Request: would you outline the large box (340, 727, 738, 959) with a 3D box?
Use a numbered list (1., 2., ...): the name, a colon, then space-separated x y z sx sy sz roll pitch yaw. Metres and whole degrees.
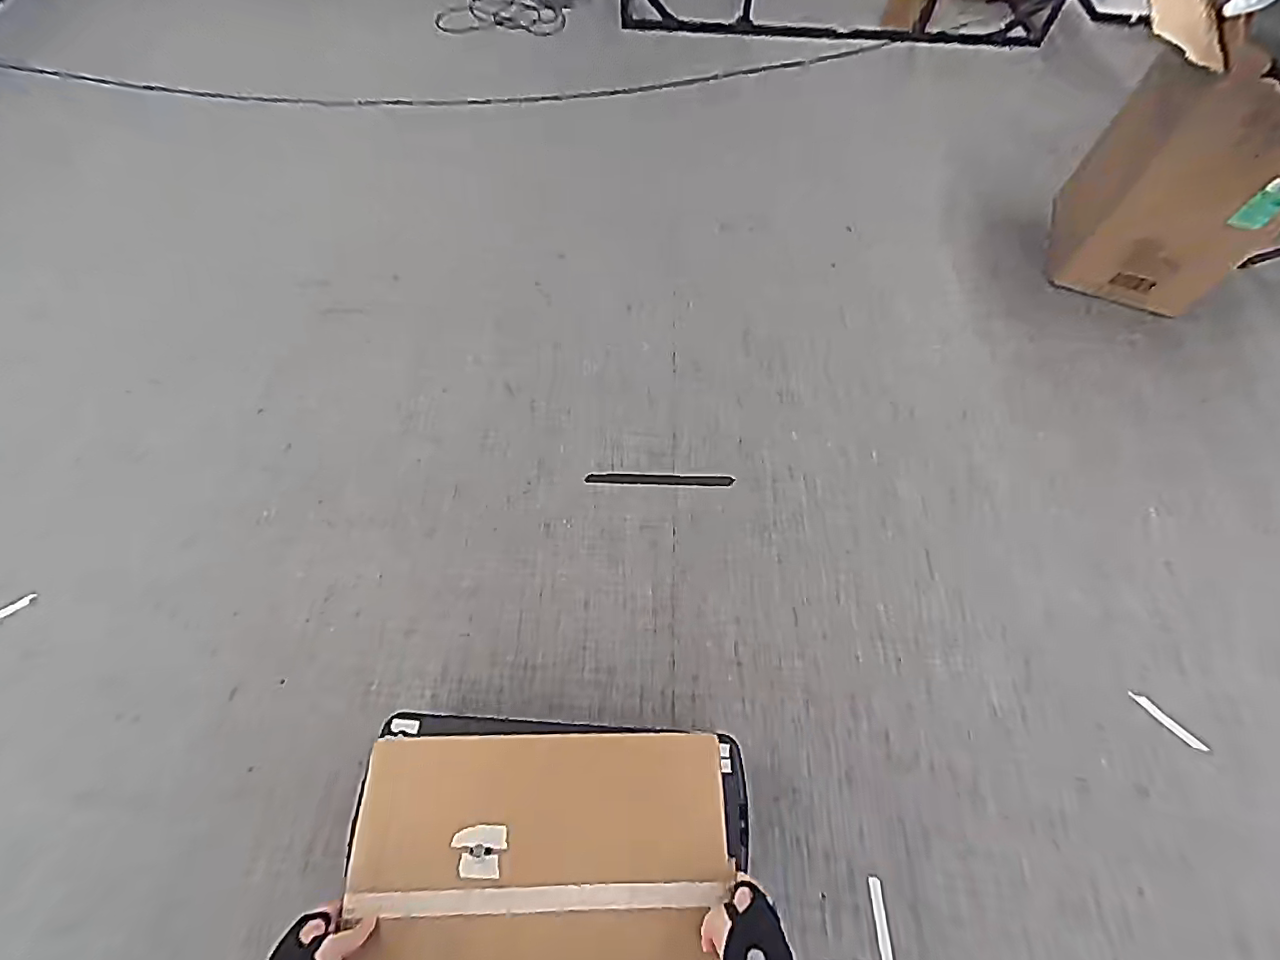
1. large box: -0.102 0.502 0.696 0.408 0.320 0.320 0 61 -1
